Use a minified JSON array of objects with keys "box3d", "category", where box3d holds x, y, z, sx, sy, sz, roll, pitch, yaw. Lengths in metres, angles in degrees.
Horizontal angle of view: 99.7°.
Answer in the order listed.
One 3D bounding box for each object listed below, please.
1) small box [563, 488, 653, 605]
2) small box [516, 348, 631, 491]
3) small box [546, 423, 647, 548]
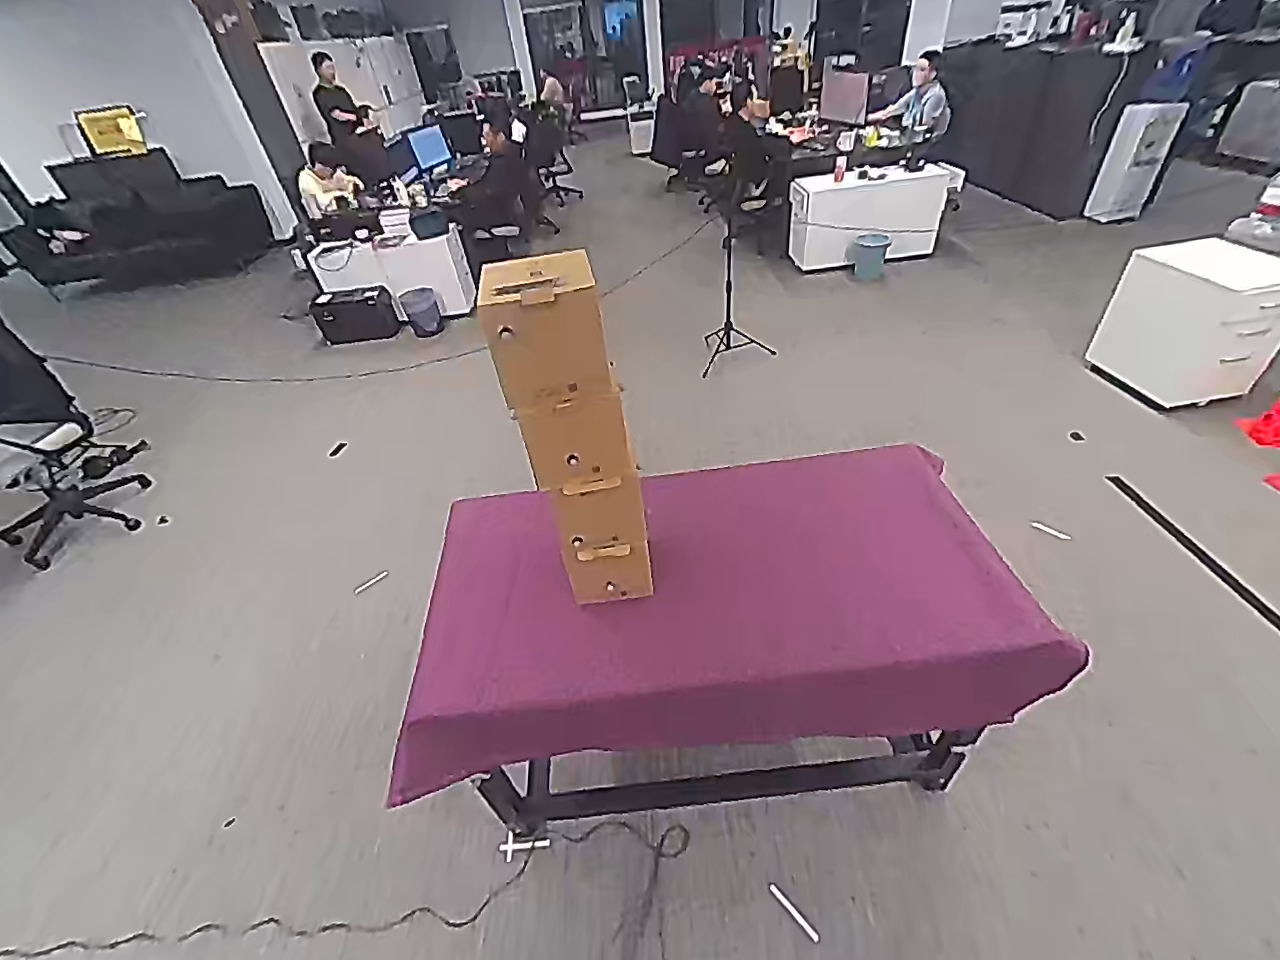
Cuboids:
[{"box3d":[-0.065,0.141,1.157,0.168,0.176,0.179,-7,40,1],"category":"small box"},{"box3d":[-0.117,-0.107,0.950,0.168,0.176,0.179,-12,41,-5],"category":"small box"},{"box3d":[-0.084,0.016,1.052,0.168,0.176,0.179,-9,39,-2],"category":"small box"}]
